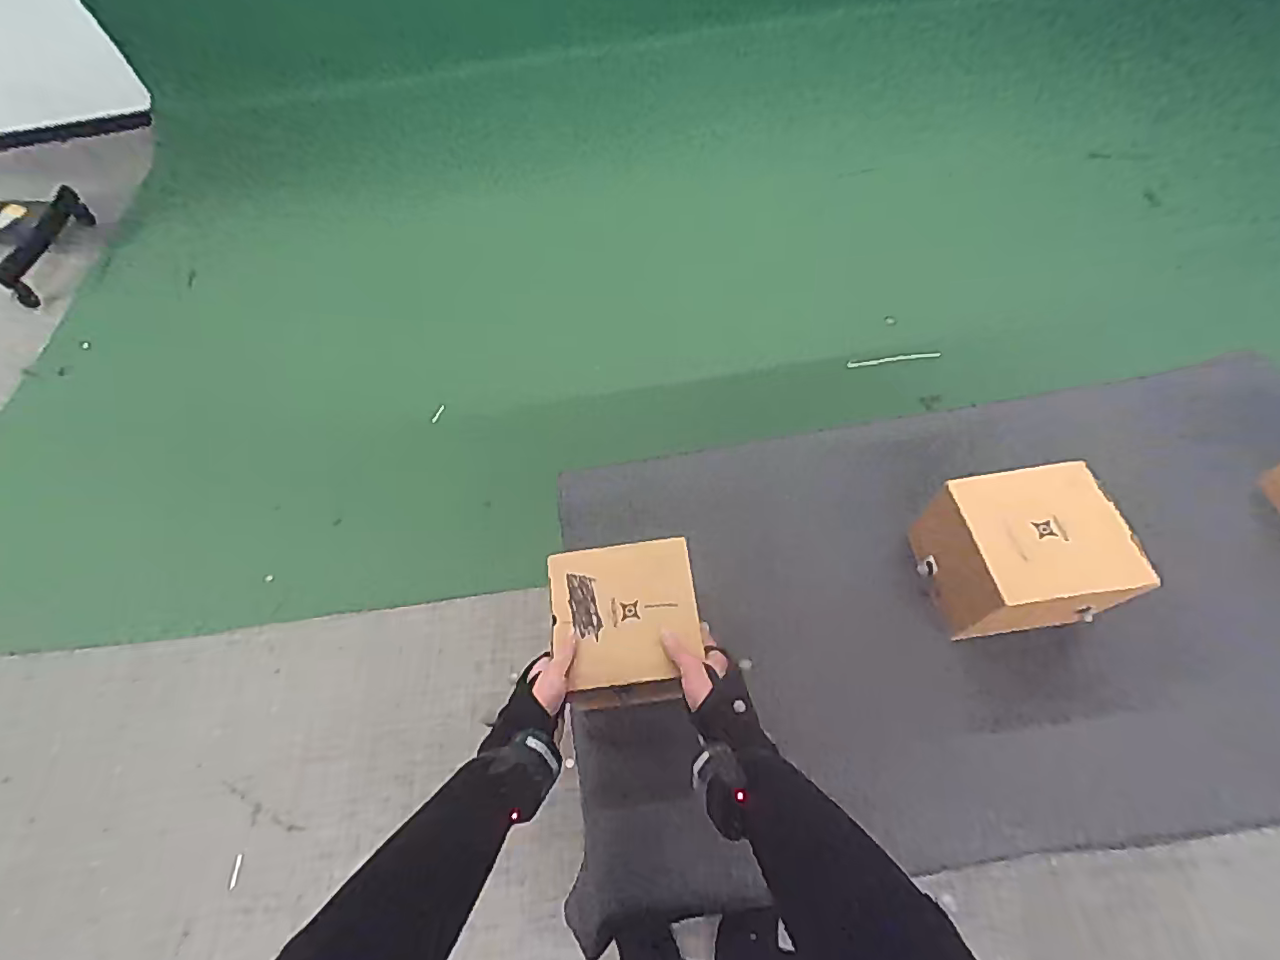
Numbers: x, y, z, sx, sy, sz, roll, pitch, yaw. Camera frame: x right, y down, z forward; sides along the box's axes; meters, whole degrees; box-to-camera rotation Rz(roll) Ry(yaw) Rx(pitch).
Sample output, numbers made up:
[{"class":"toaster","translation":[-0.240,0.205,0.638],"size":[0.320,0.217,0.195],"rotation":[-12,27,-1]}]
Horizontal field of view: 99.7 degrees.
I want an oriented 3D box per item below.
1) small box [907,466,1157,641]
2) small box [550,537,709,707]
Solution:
[{"class":"small box","translation":[0.489,0.102,0.711],"size":[0.179,0.176,0.168],"rotation":[-9,60,0]},{"class":"small box","translation":[-0.011,0.189,0.694],"size":[0.179,0.176,0.168],"rotation":[-6,61,0]}]
